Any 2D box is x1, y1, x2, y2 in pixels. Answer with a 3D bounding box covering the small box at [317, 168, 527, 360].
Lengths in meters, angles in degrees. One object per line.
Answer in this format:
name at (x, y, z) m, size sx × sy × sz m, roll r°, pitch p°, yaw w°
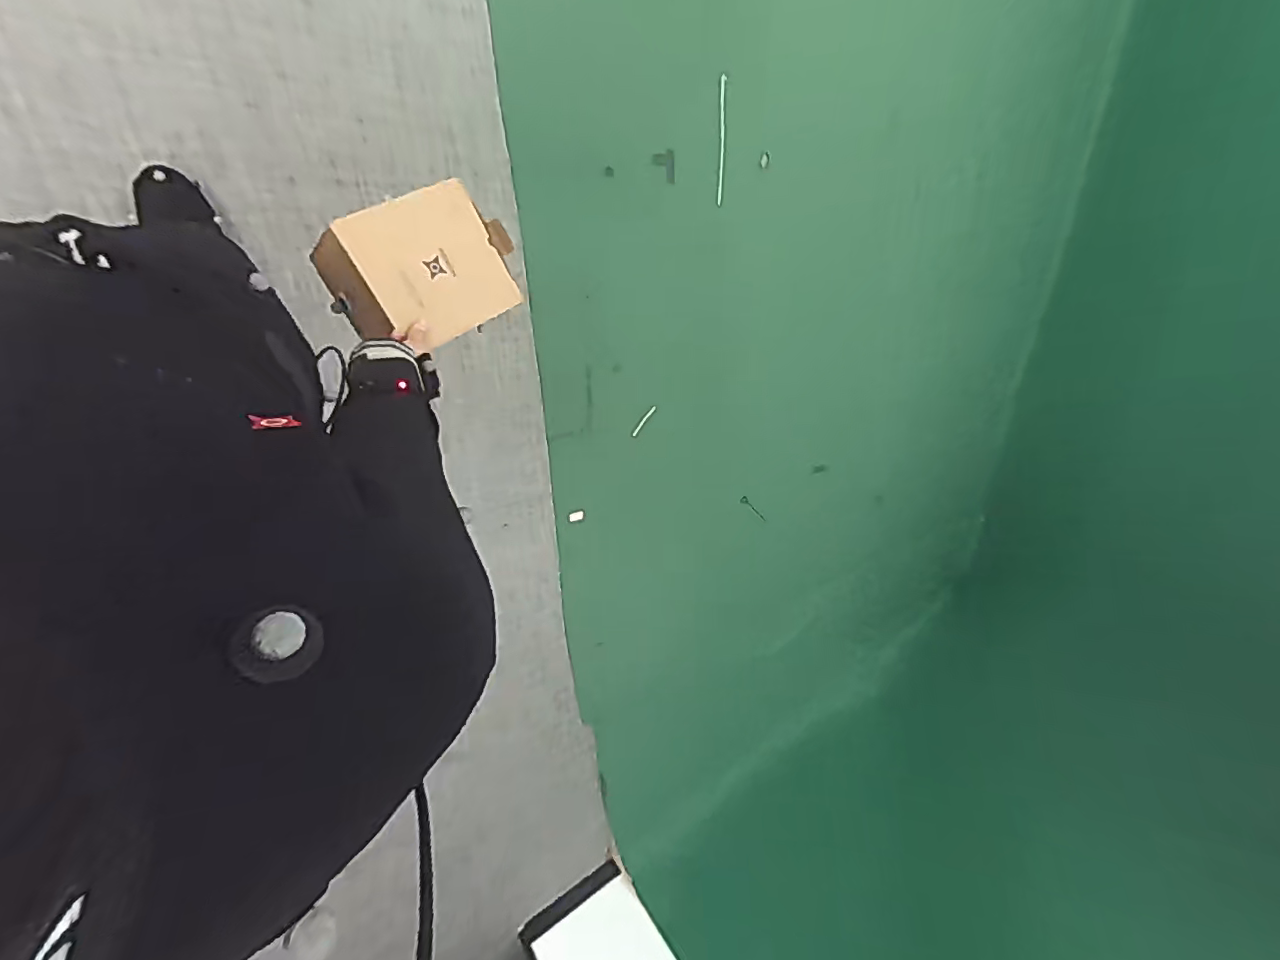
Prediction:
small box at (-0.290, -0.275, 0.714) m, size 0.179 × 0.176 × 0.168 m, roll -41°, pitch 117°, yaw -27°
